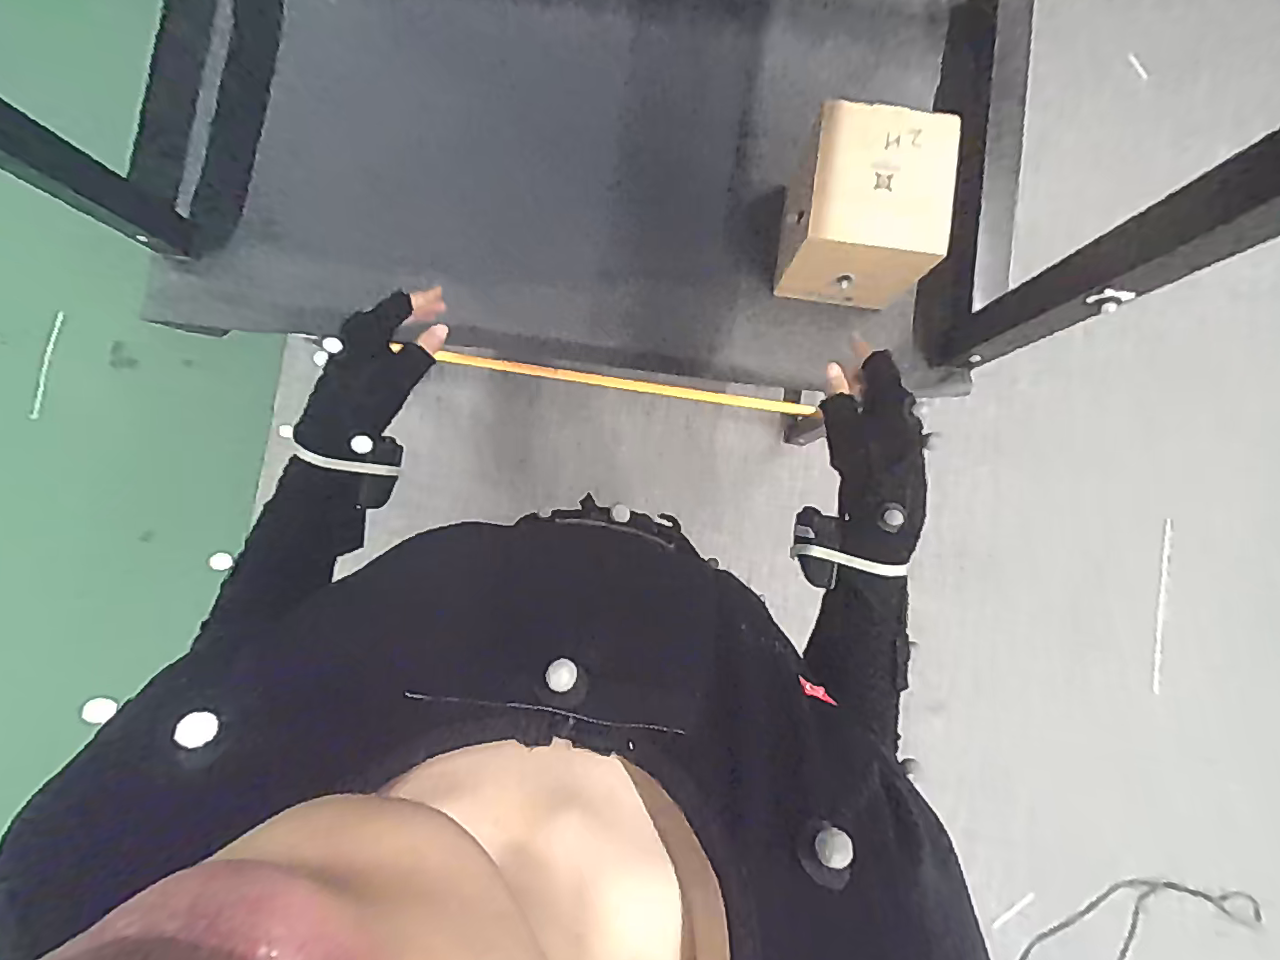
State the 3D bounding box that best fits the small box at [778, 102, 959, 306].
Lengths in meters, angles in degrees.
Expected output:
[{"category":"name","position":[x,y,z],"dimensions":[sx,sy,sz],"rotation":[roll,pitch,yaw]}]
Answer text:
[{"category":"small box","position":[0.289,-0.352,0.720],"dimensions":[0.168,0.176,0.179],"rotation":[8,85,1]}]
